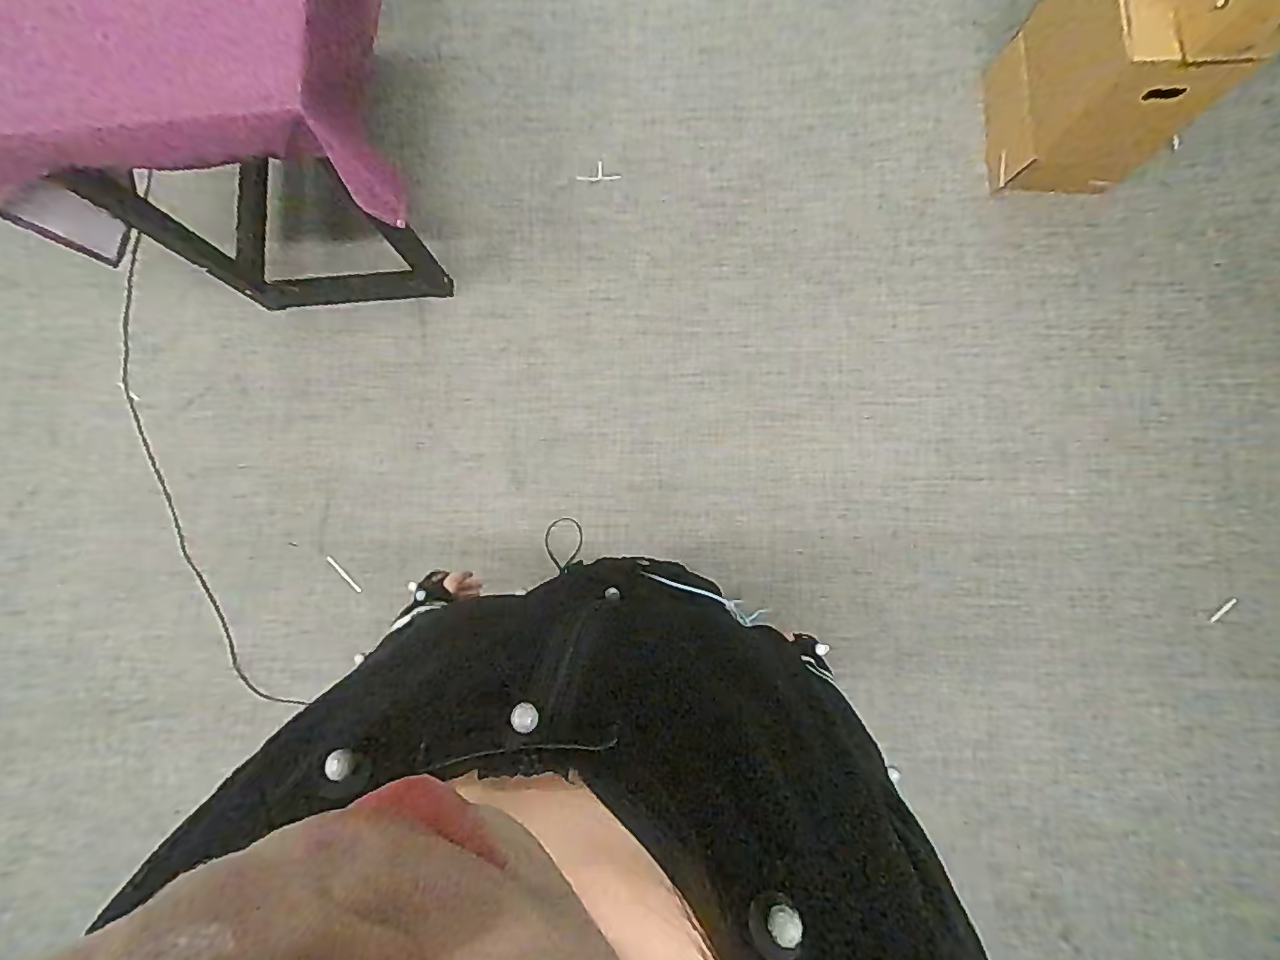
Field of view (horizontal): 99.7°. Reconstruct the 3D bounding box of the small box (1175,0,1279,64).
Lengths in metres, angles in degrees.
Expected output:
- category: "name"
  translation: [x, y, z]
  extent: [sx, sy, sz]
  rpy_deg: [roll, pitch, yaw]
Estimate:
- category: "small box"
  translation: [1.252, -0.987, 1.096]
  extent: [0.168, 0.176, 0.179]
  rpy_deg: [-1, 81, 0]
